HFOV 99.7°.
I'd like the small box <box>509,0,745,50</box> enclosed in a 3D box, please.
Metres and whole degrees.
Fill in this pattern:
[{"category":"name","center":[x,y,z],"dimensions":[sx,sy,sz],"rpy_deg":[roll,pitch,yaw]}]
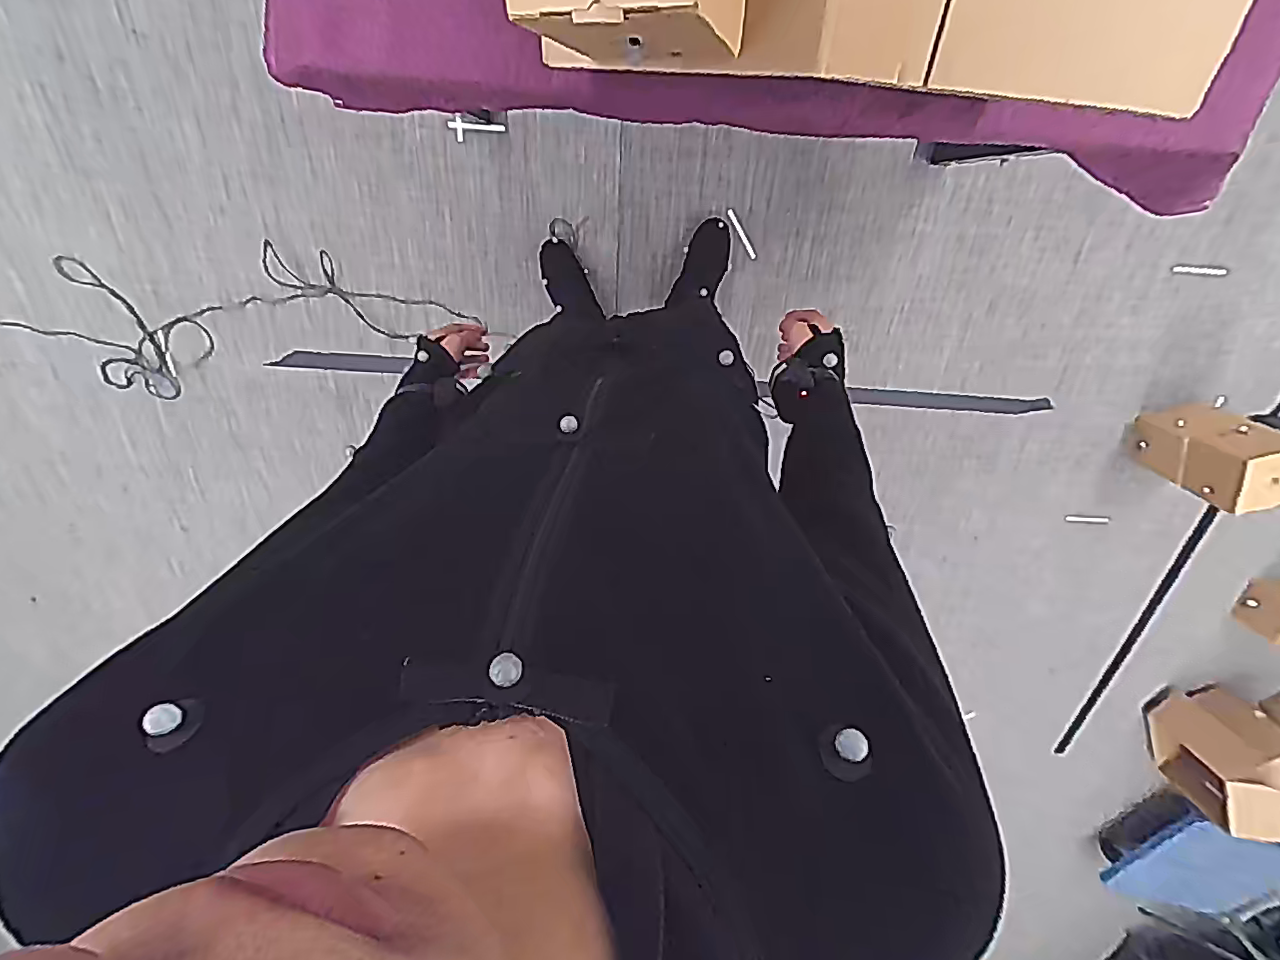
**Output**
[{"category":"small box","center":[0.000,-0.480,0.450],"dimensions":[0.168,0.176,0.179],"rpy_deg":[13,121,16]}]
